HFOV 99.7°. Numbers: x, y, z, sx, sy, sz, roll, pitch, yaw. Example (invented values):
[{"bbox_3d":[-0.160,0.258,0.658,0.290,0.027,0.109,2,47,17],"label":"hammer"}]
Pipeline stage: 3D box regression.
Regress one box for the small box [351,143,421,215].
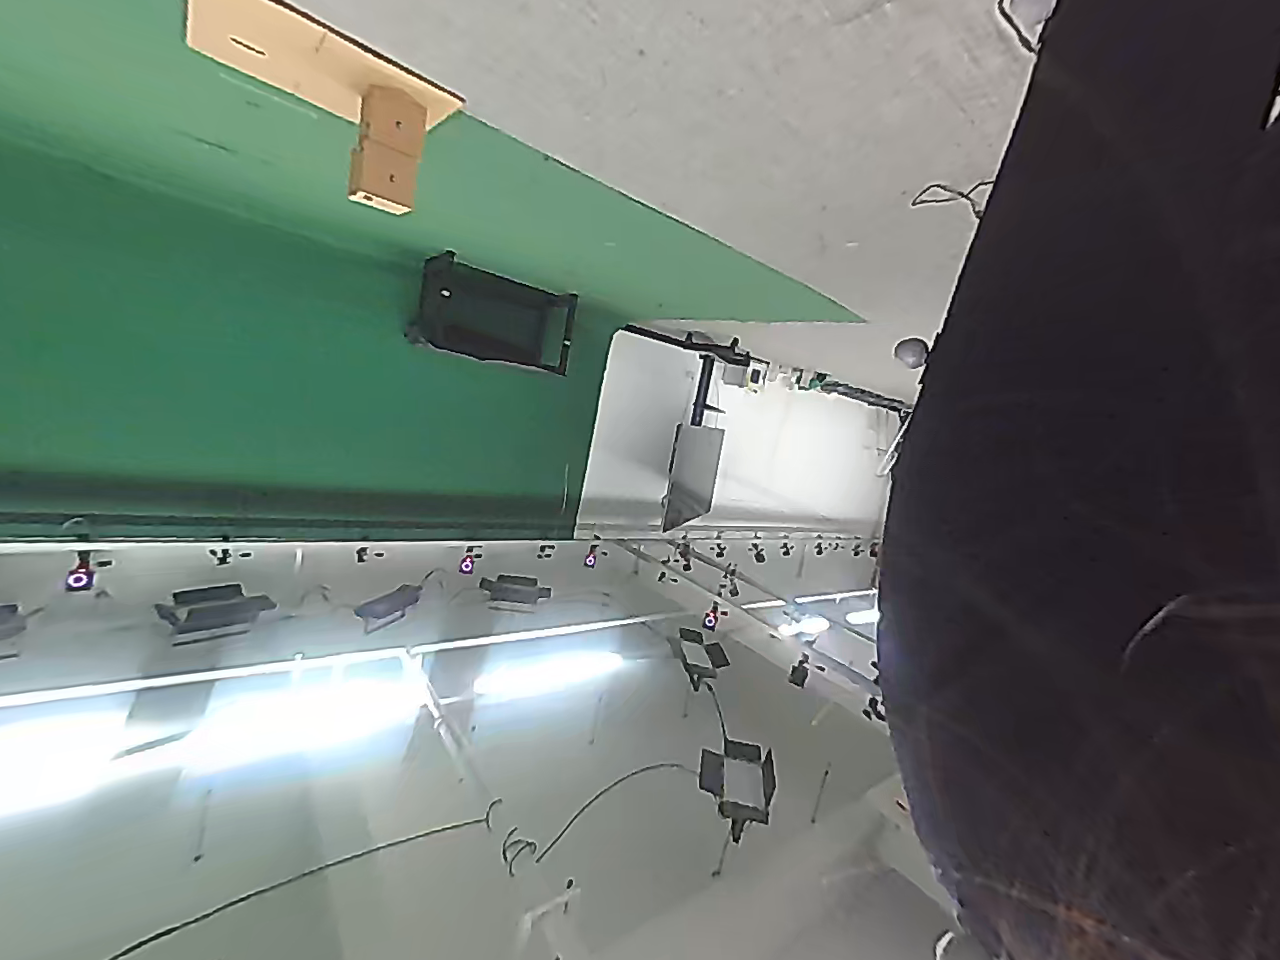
[{"bbox_3d":[-0.891,-1.057,1.896,0.179,0.176,0.168,0,-167,-43],"label":"small box"}]
